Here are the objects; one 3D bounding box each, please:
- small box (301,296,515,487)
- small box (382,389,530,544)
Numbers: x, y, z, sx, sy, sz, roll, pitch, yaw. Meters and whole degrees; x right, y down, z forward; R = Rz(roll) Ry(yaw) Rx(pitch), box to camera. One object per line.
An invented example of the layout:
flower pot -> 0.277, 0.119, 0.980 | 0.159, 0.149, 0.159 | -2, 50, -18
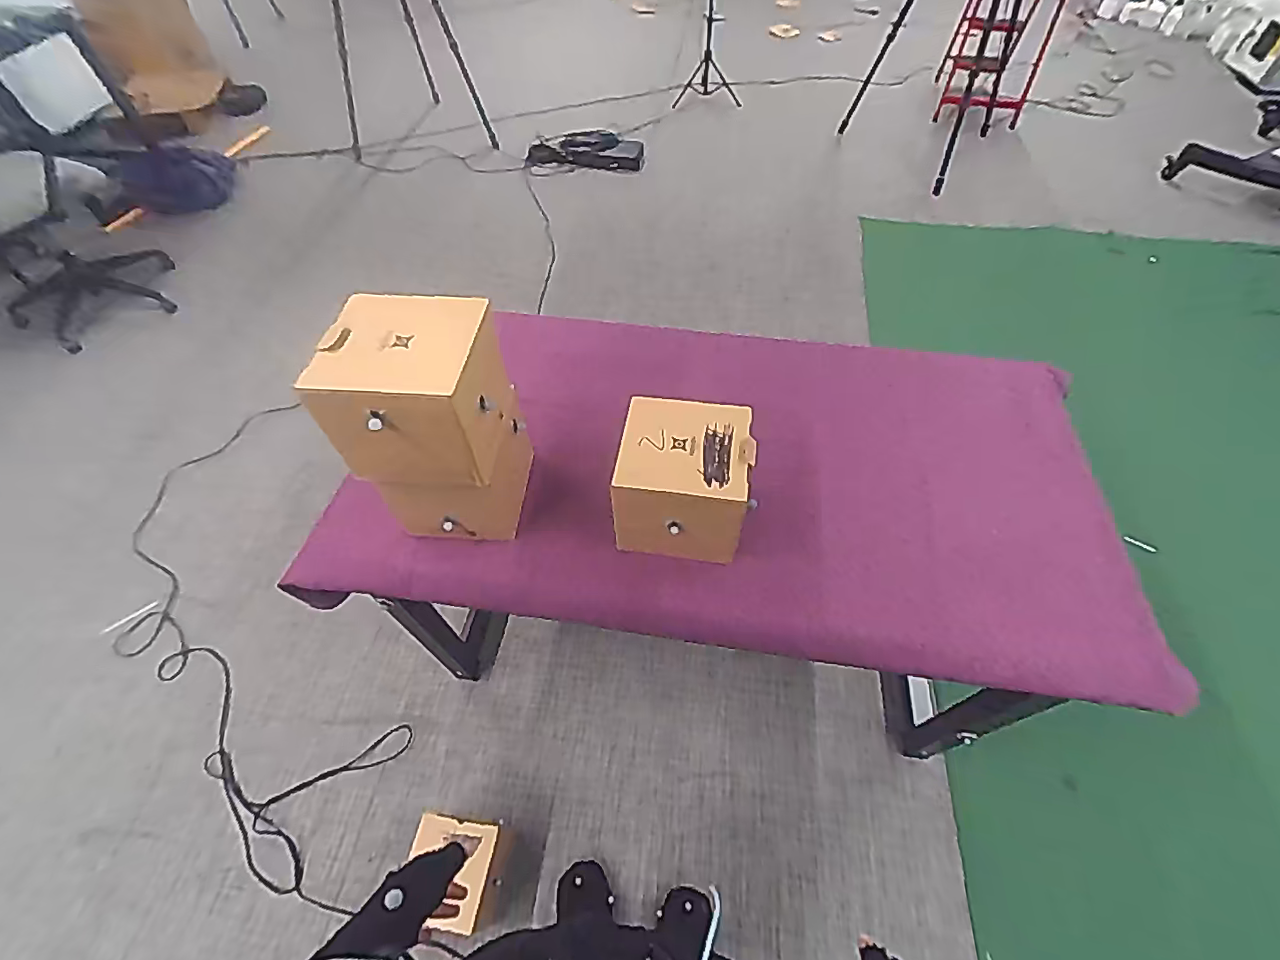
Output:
small box -> -0.268, -0.105, 0.680 | 0.179, 0.176, 0.168 | 4, 54, 3
small box -> -0.270, -0.024, 0.822 | 0.168, 0.176, 0.179 | 4, 54, 3
